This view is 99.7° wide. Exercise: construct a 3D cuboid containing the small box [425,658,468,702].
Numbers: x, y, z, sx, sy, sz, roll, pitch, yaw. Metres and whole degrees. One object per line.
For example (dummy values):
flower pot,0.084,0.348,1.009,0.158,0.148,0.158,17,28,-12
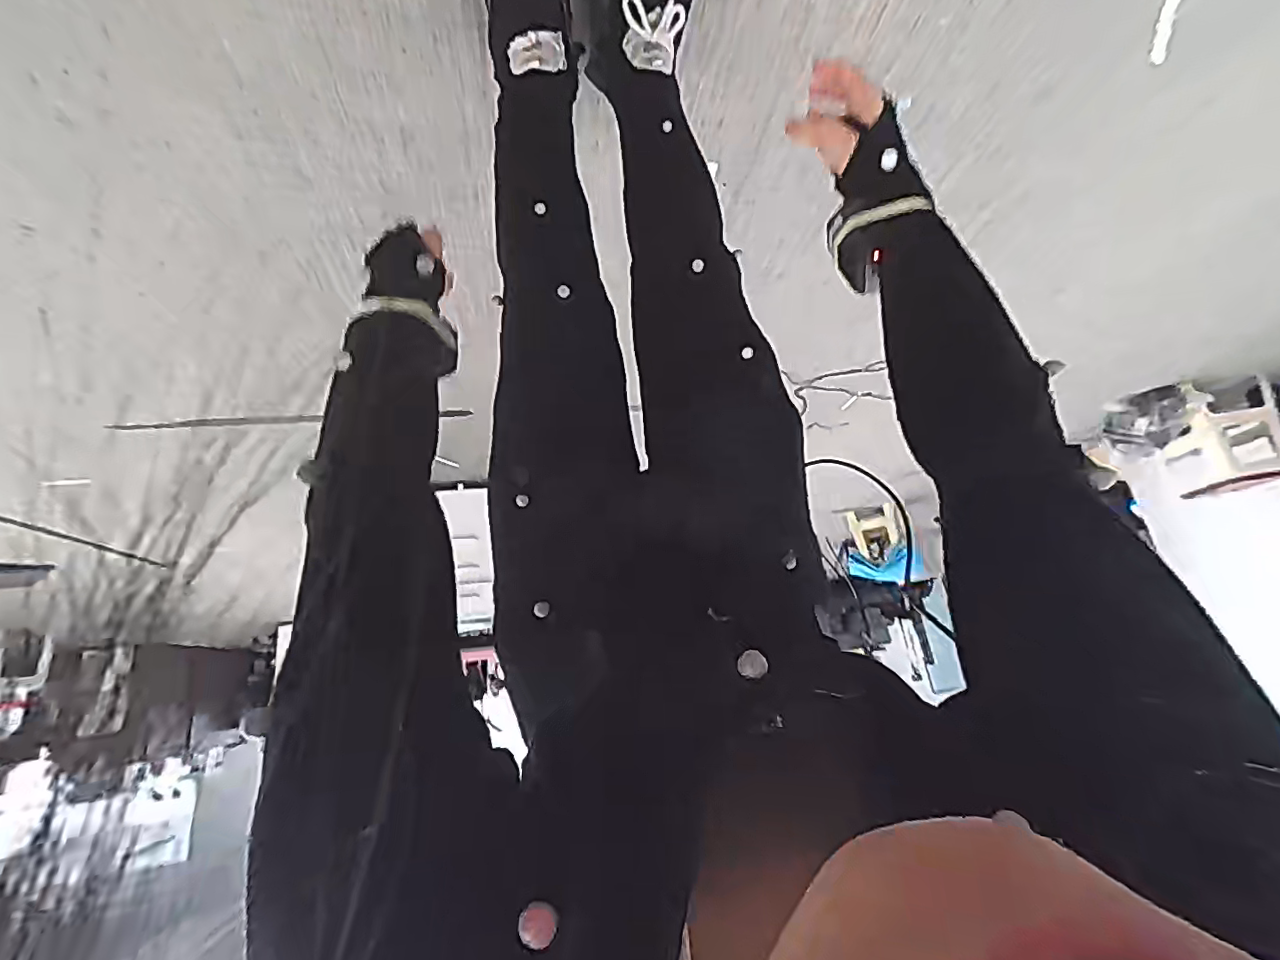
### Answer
small box,-0.895,0.930,2.509,0.179,0.176,0.168,-3,160,-15
